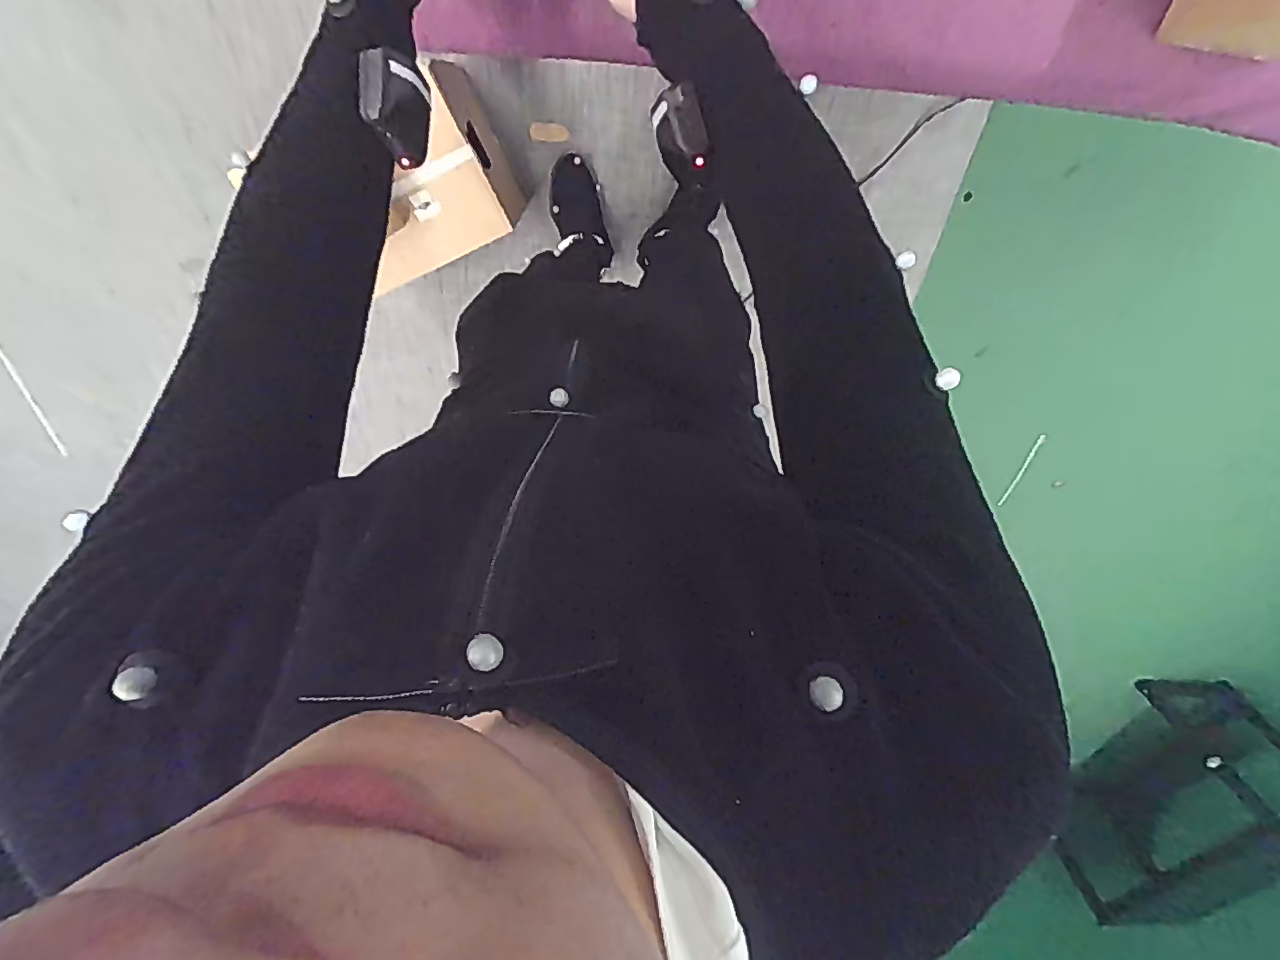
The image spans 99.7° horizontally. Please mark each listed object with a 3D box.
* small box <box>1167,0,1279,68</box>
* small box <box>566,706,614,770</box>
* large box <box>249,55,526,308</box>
[{"bbox_3d":[0.703,-0.536,0.535,0.168,0.176,0.179,4,122,-6],"label":"small box"},{"bbox_3d":[-0.203,1.061,2.224,0.168,0.176,0.179,11,123,-10],"label":"small box"},{"bbox_3d":[-0.507,-0.637,1.175,0.408,0.320,0.320,-22,125,9],"label":"large box"}]
